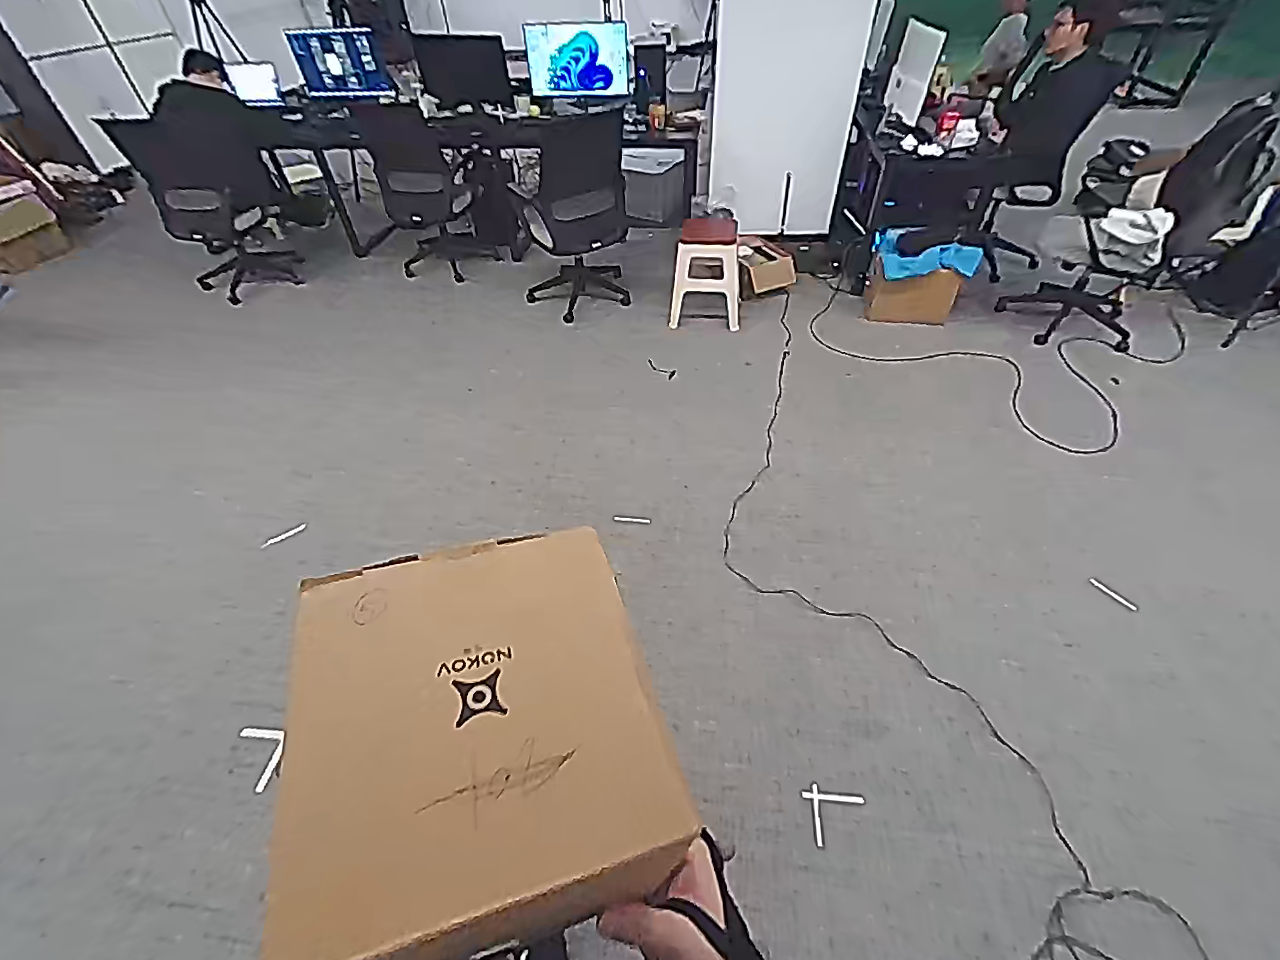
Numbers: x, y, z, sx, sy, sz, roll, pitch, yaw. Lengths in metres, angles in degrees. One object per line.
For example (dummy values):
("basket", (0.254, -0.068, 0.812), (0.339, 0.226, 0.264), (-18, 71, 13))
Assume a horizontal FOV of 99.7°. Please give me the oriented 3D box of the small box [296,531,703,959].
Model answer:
("small box", (-0.085, 0.162, 0.327), (0.168, 0.176, 0.179), (-11, 48, -19))
